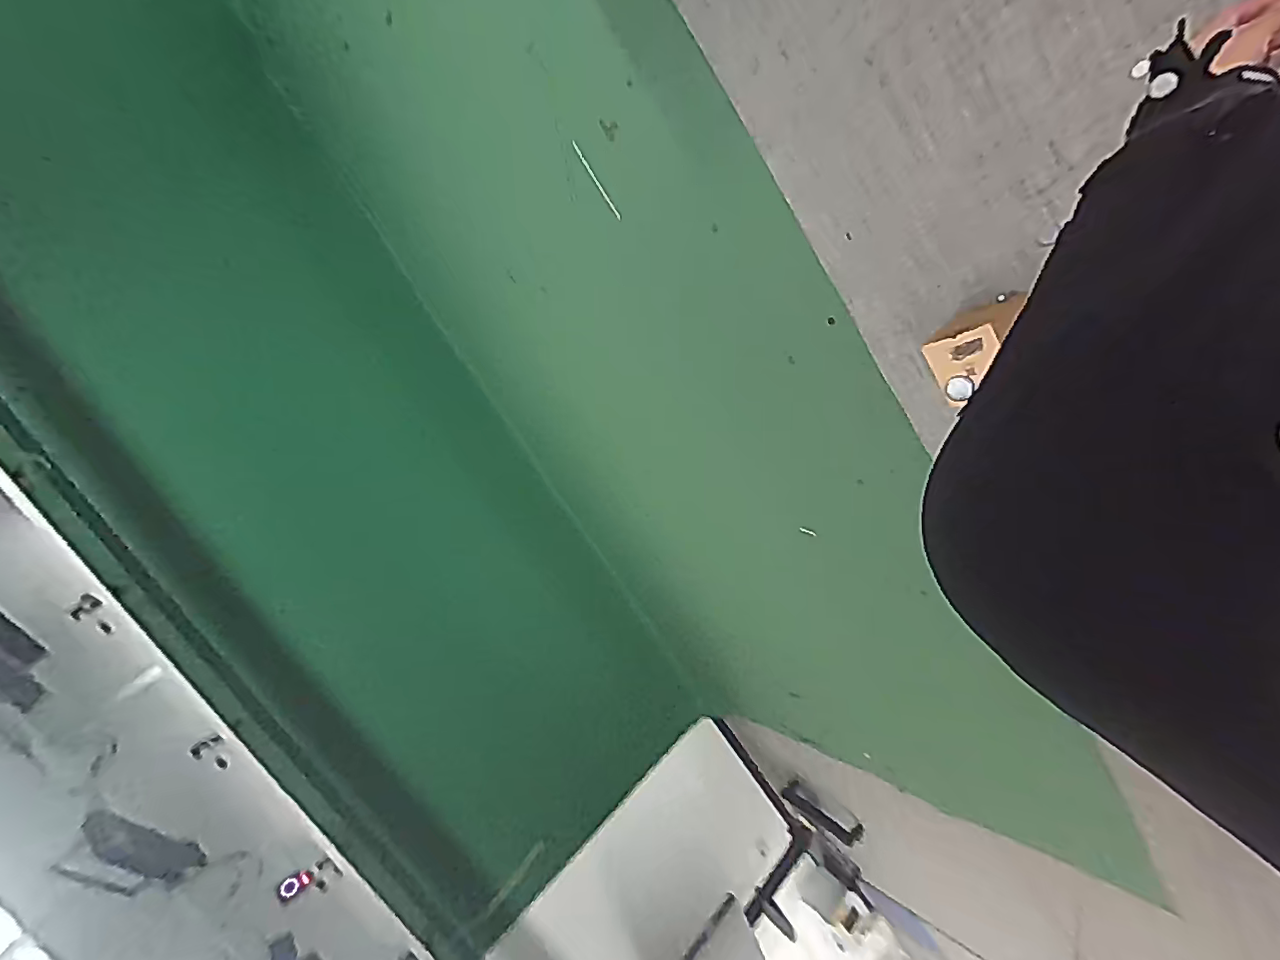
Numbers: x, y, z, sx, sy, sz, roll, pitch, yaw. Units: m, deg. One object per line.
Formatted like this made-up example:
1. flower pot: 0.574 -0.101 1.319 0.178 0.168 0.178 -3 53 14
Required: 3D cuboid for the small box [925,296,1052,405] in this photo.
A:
1. small box: 0.809 -0.305 1.256 0.179 0.176 0.168 56 155 -11
